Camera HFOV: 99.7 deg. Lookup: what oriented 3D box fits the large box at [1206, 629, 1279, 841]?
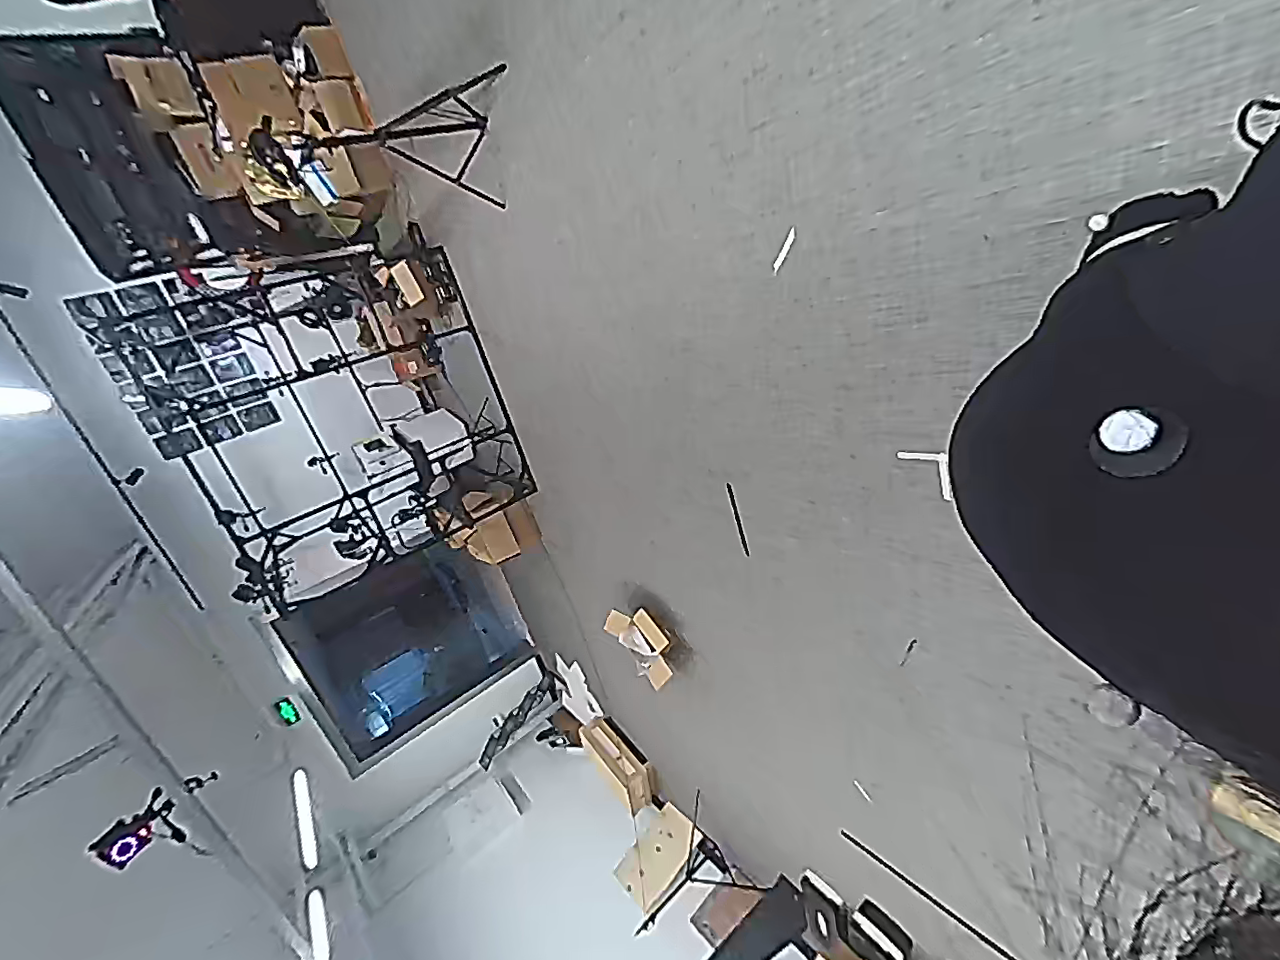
[{"bbox_3d":[1.443,0.563,1.045,0.408,0.320,0.320,22,133,49],"label":"large box"}]
